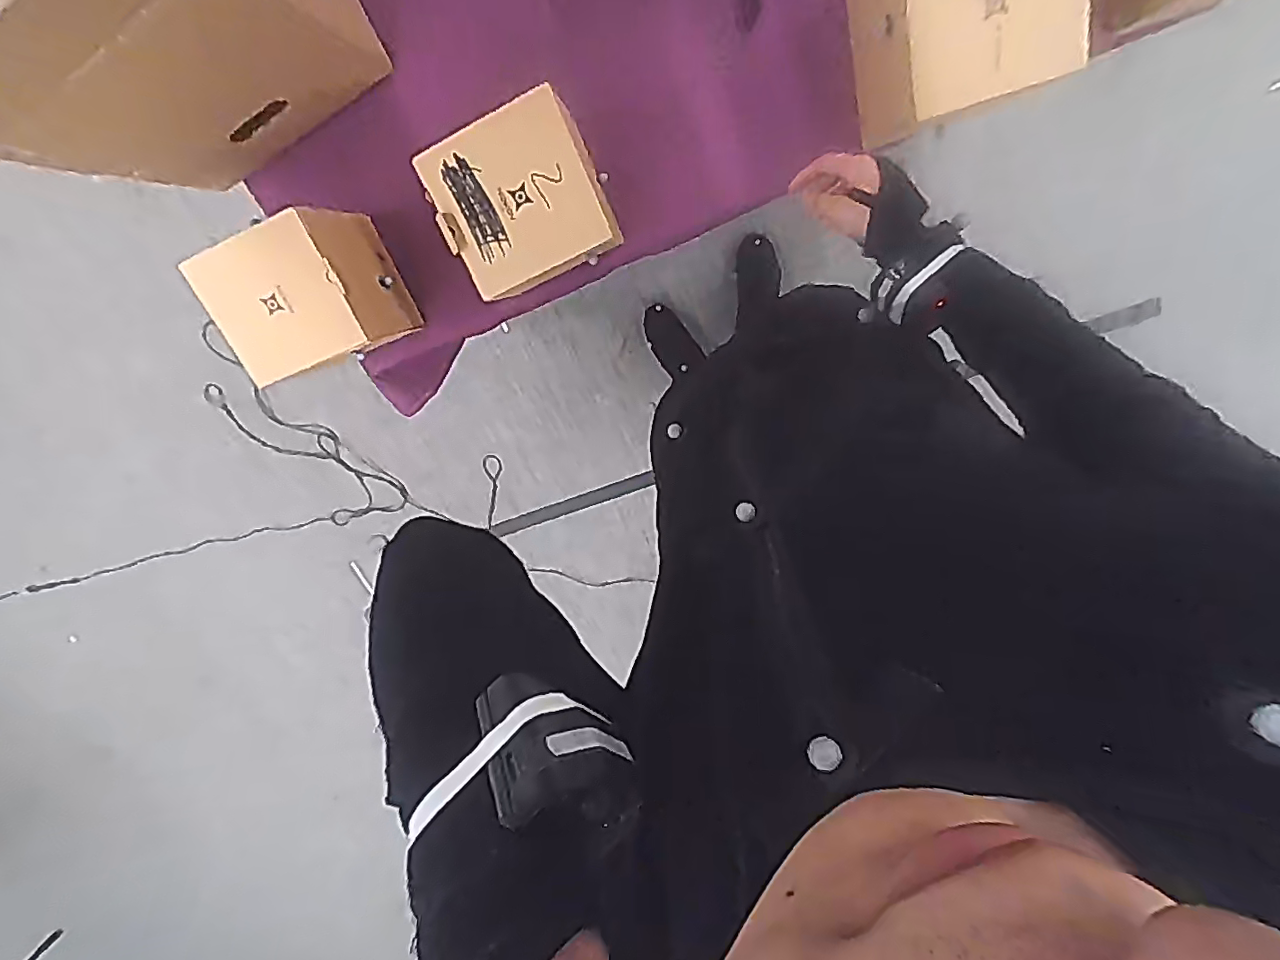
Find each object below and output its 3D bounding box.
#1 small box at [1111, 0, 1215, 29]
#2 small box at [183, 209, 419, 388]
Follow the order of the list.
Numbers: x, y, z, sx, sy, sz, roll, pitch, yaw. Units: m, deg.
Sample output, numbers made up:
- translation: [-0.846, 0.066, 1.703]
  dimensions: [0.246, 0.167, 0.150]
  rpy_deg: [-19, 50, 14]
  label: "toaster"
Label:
- translation: [0.607, -0.598, 0.527]
  dimensions: [0.168, 0.176, 0.179]
  rpy_deg: [-13, 111, 10]
  label: "small box"
- translation: [-0.442, -0.245, 0.739]
  dimensions: [0.179, 0.176, 0.168]
  rpy_deg: [-20, 110, 10]
  label: "small box"
